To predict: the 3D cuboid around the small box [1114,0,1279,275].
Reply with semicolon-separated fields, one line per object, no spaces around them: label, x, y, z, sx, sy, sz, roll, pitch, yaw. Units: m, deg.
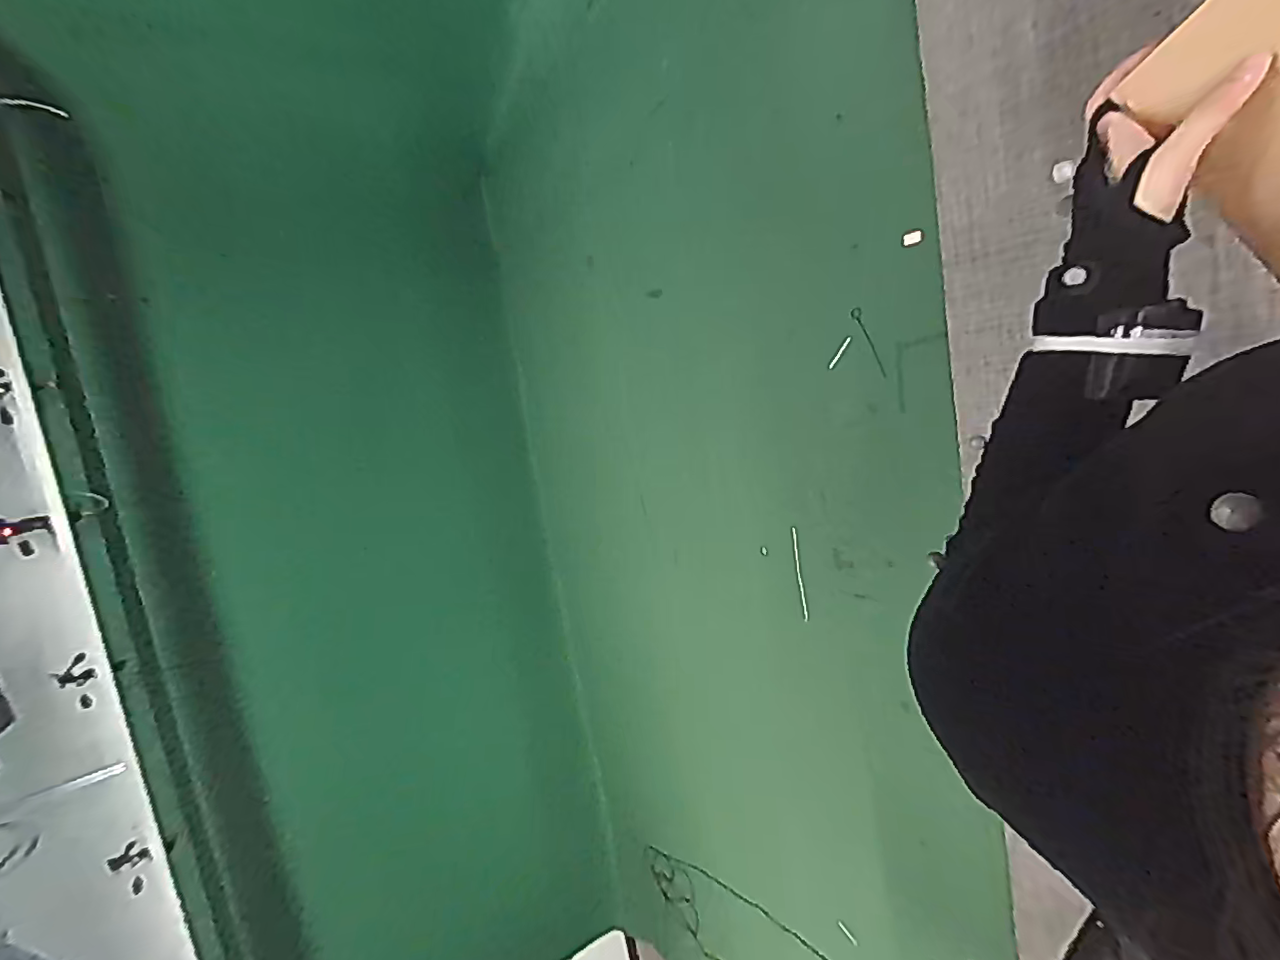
small box;0.439;-0.256;0.295;0.168;0.176;0.179;55;162;6
